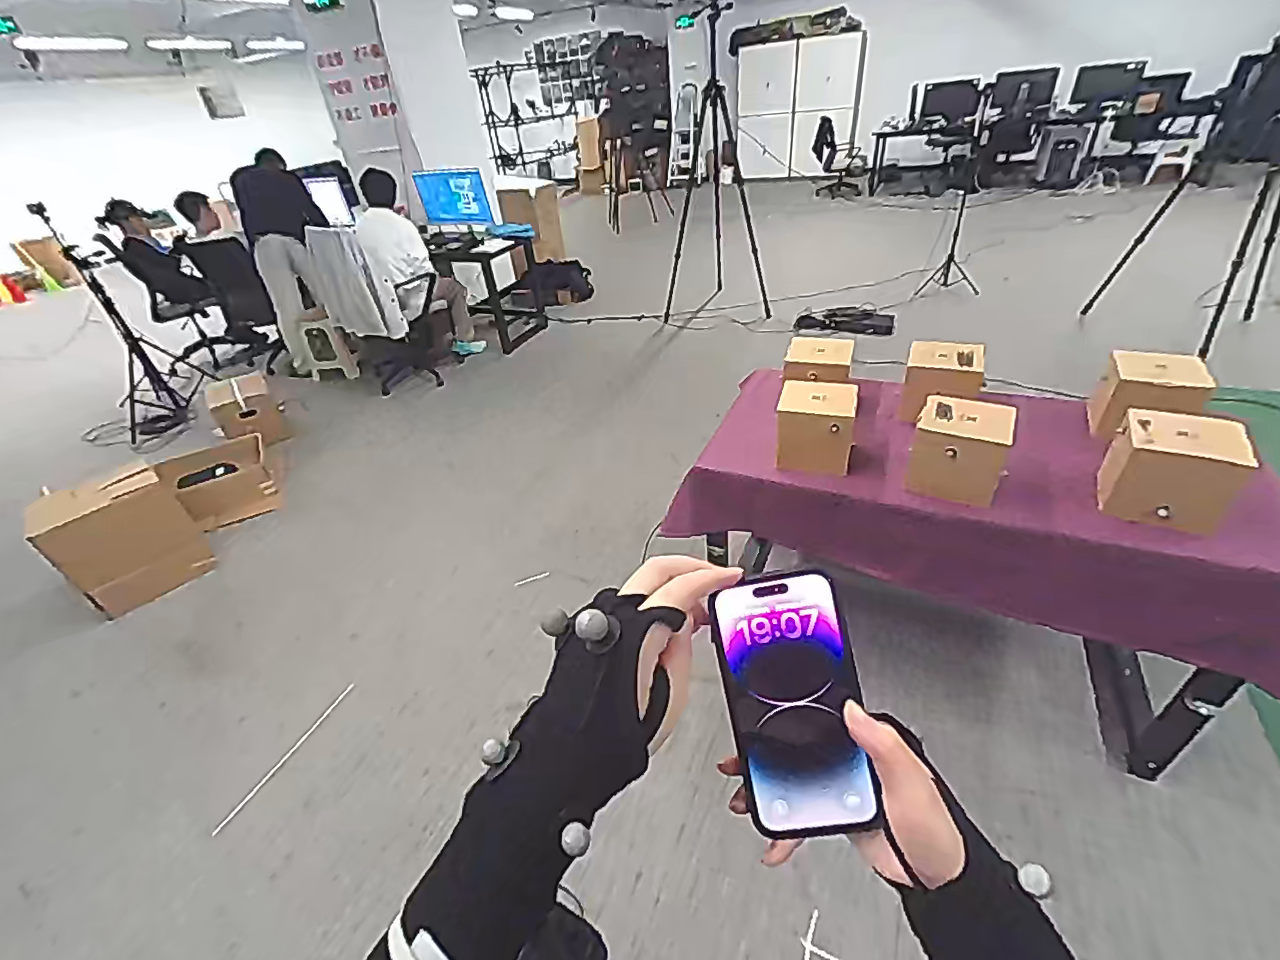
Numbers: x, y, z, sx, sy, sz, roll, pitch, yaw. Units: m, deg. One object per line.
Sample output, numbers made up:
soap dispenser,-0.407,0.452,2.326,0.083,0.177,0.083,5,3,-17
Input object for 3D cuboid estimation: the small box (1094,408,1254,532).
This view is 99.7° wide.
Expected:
small box,1.057,-0.019,1.089,0.179,0.176,0.168,17,42,29

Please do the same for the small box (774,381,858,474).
small box,0.436,-0.132,1.350,0.179,0.176,0.168,9,38,18

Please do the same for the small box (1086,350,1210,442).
small box,1.207,-0.194,1.302,0.168,0.176,0.179,14,41,27

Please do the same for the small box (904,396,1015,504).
small box,0.711,-0.068,1.213,0.179,0.176,0.168,17,42,28
